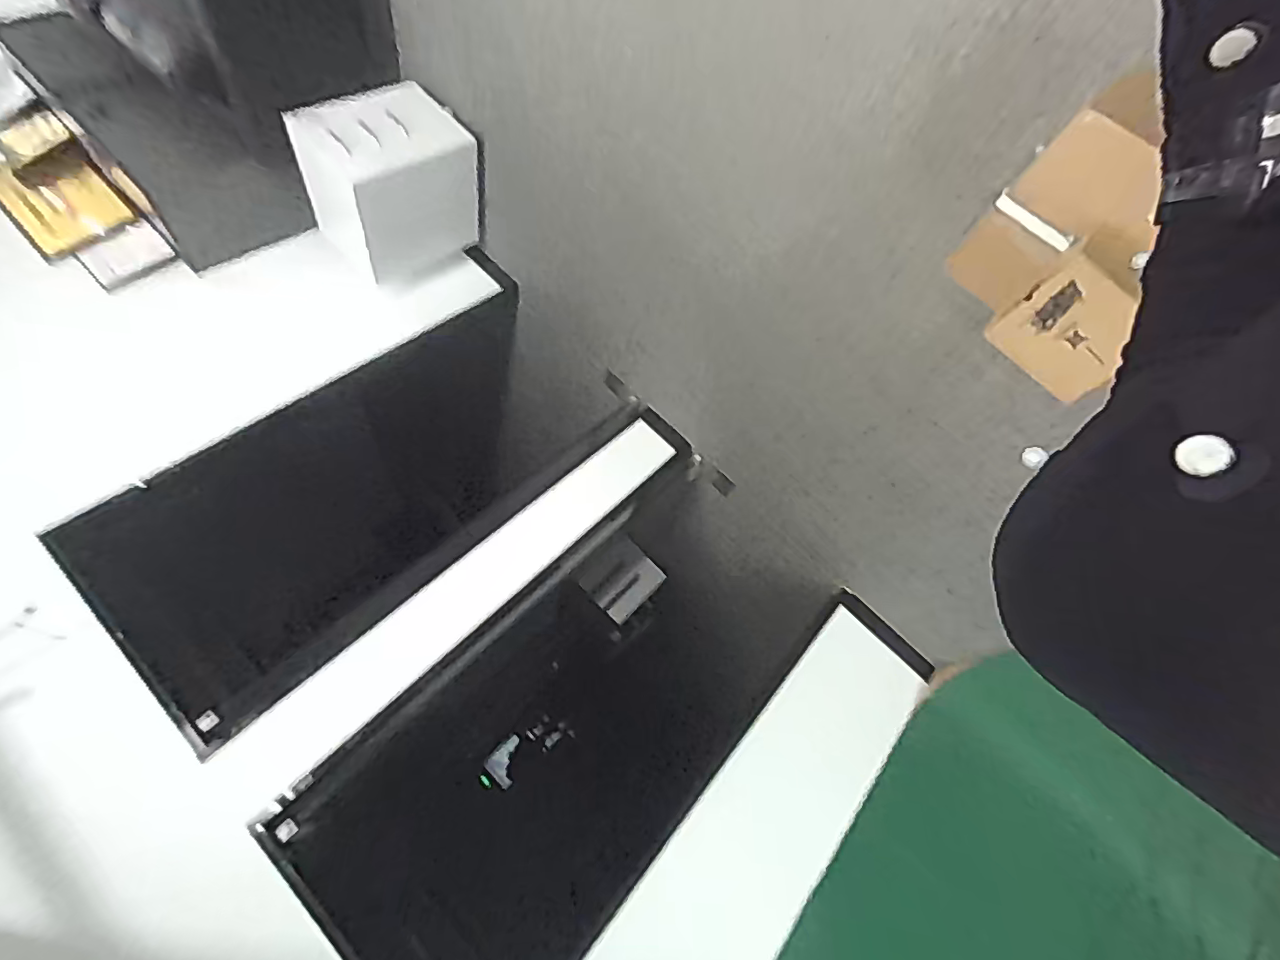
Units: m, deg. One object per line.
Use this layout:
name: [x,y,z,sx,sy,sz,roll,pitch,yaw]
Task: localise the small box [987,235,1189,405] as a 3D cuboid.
small box: [0.703,-0.257,0.852,0.179,0.176,0.168,47,148,5]
